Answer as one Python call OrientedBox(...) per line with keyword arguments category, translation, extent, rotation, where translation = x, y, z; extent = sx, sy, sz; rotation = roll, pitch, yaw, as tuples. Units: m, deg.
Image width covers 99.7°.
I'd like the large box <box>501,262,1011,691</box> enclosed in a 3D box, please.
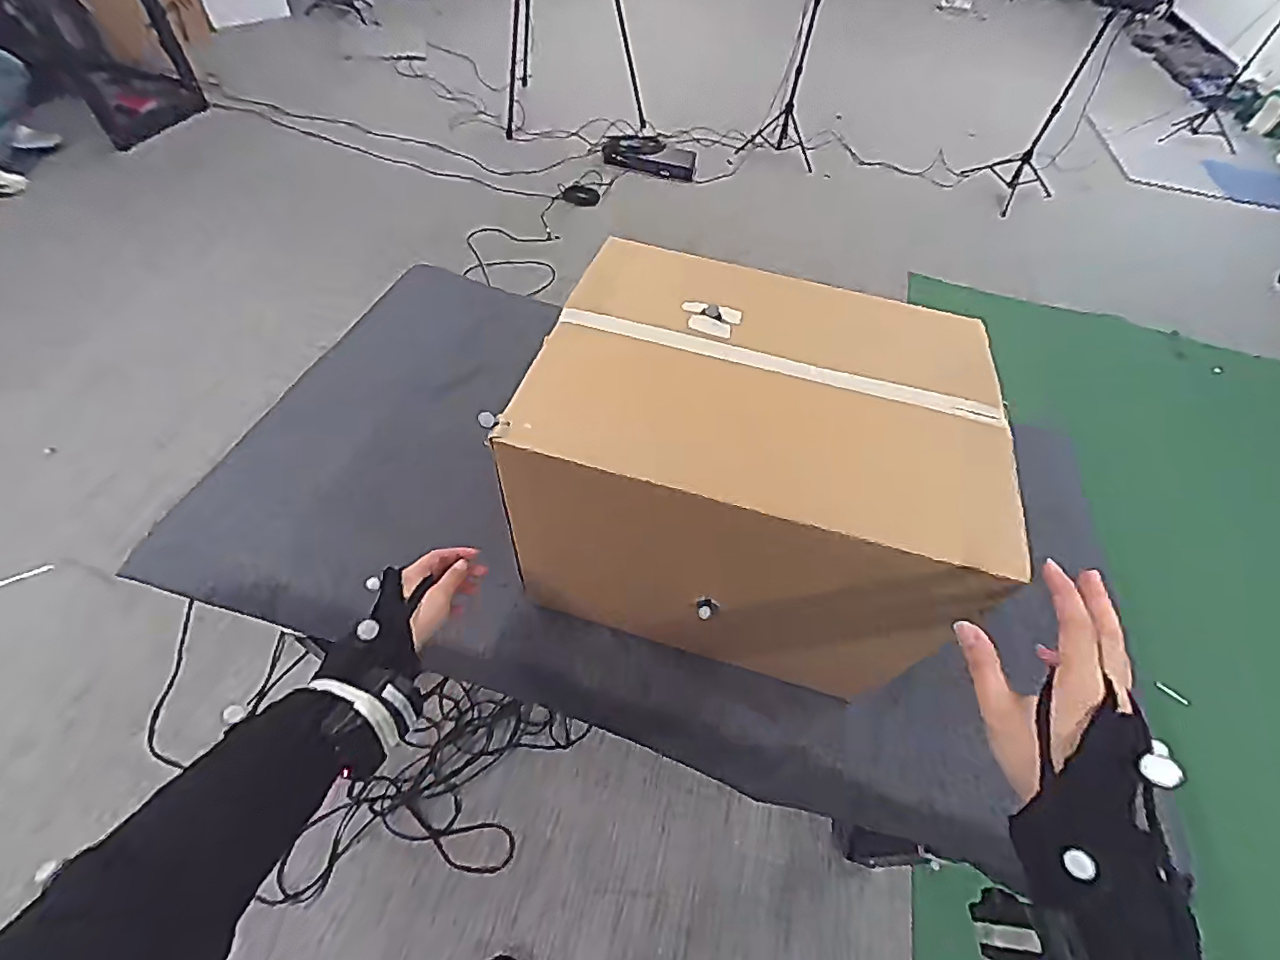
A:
OrientedBox(category="large box", translation=(0.110, 0.003, 0.619), extent=(0.408, 0.320, 0.320), rotation=(14, 53, 7))
